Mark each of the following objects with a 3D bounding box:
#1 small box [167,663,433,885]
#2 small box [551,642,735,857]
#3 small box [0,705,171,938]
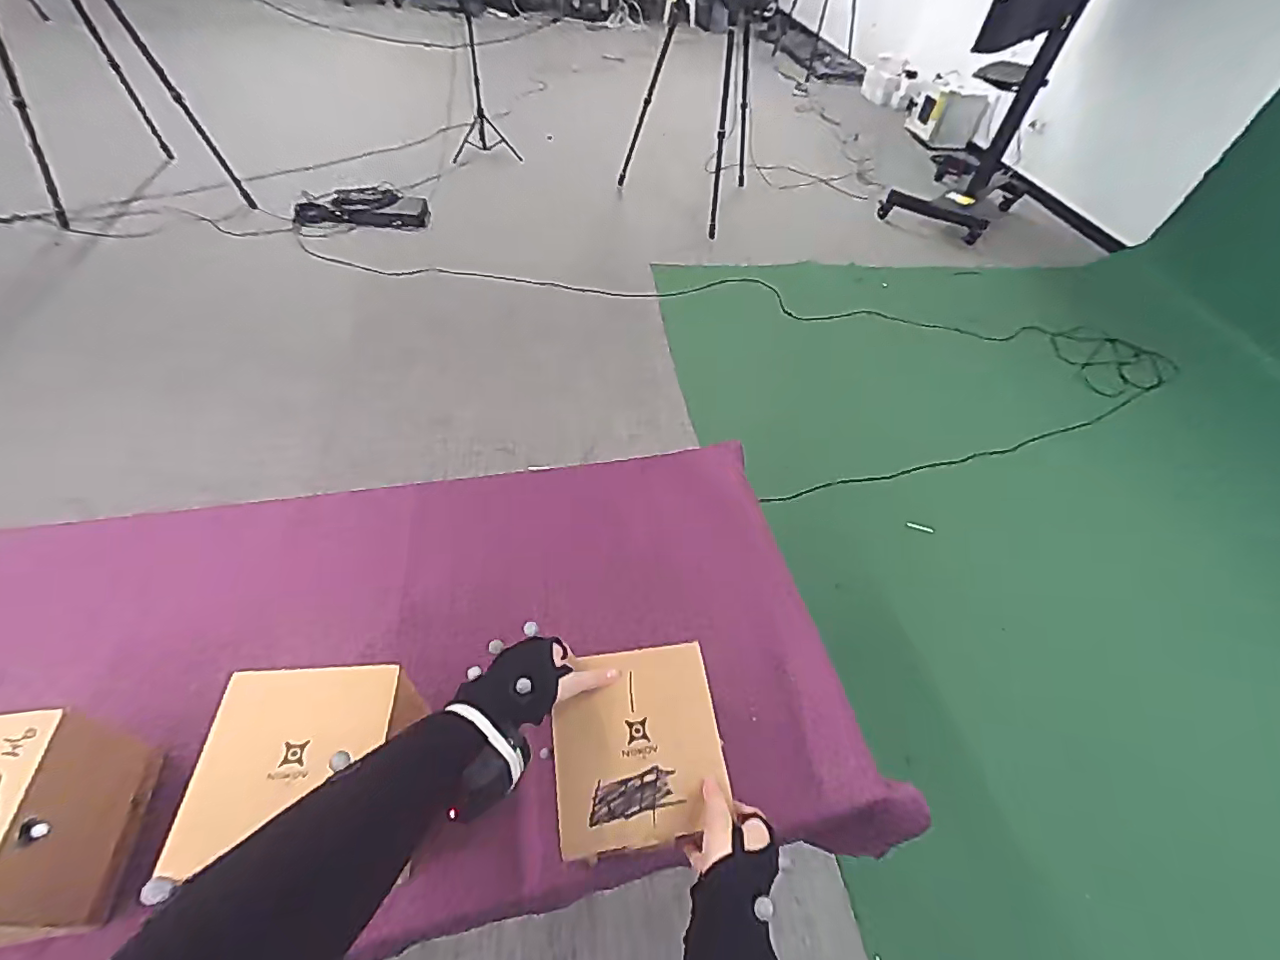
[{"bbox_3d":[-0.329,0.312,0.574,0.168,0.176,0.179,0,52,-7],"label":"small box"},{"bbox_3d":[-0.008,0.297,0.602,0.168,0.176,0.179,-4,58,-9],"label":"small box"},{"bbox_3d":[-0.621,0.336,0.520,0.179,0.176,0.168,-5,52,-9],"label":"small box"}]
